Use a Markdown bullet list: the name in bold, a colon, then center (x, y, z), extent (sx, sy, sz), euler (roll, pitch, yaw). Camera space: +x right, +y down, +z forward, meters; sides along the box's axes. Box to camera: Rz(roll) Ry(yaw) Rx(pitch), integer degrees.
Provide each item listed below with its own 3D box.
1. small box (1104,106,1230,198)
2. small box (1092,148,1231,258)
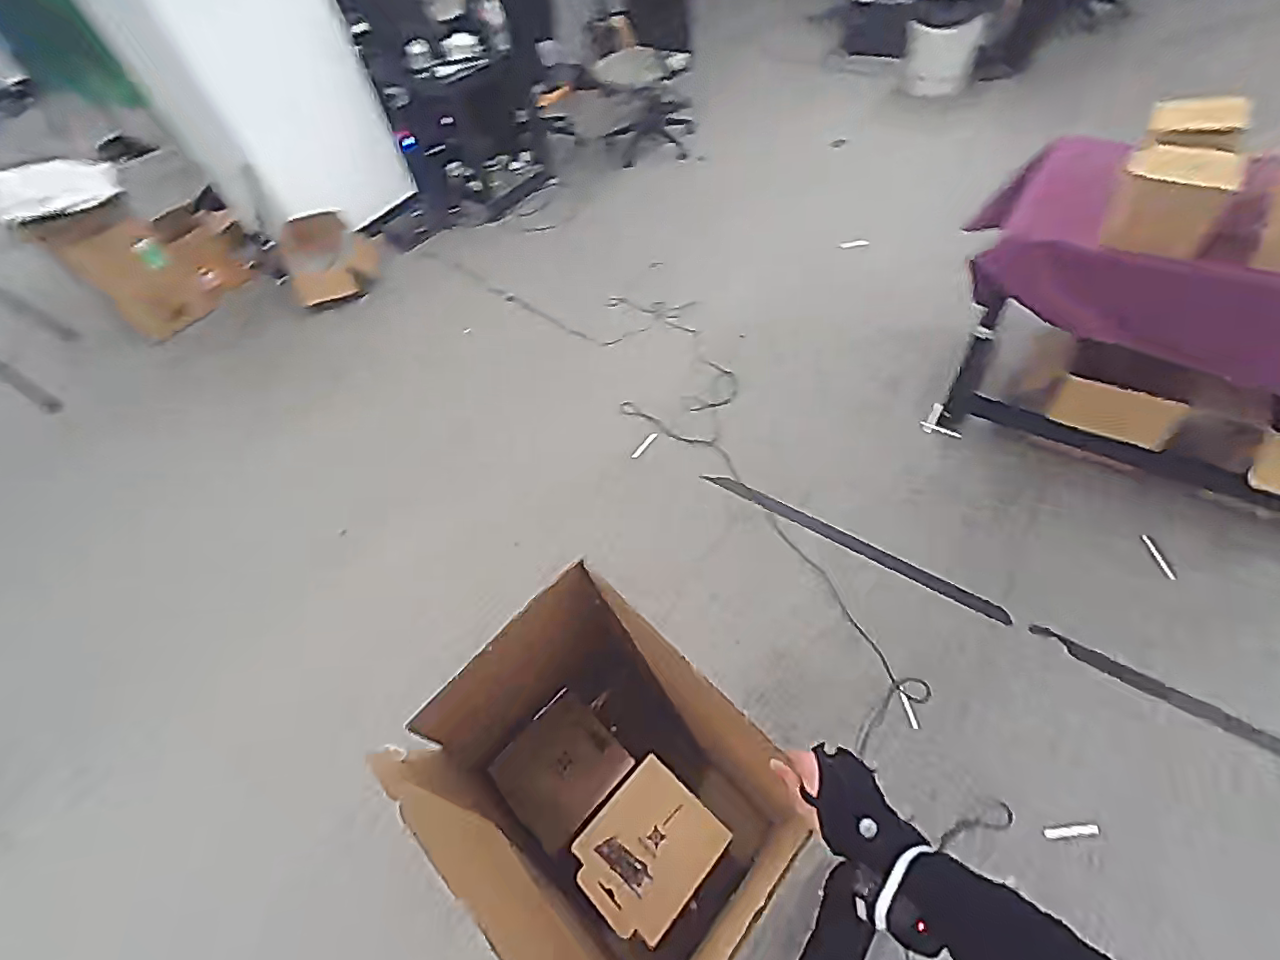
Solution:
- **small box**: center (1.339, -0.824, 1.383), extent (0.179, 0.176, 0.168), euler (23, 61, 24)
- **small box**: center (1.216, -0.648, 1.272), extent (0.179, 0.176, 0.168), euler (25, 61, 25)
